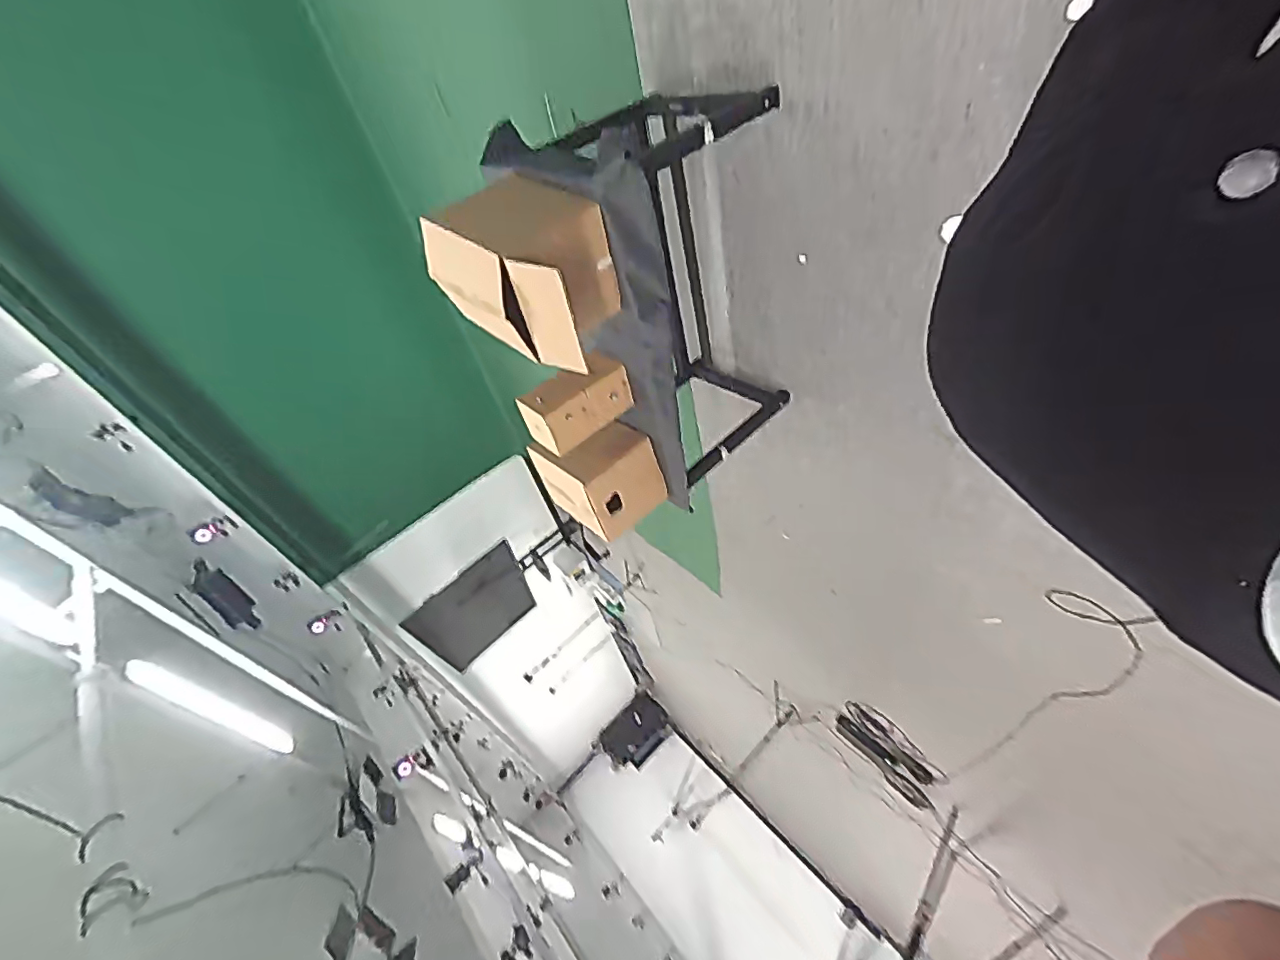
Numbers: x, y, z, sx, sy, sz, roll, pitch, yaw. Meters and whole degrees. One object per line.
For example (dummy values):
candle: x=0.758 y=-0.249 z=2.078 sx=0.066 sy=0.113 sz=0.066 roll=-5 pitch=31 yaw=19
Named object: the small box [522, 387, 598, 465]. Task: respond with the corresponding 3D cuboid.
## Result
small box: x=-0.256 y=-0.186 z=1.798 sx=0.179 sy=0.176 sz=0.168 roll=34 pitch=153 yaw=39
